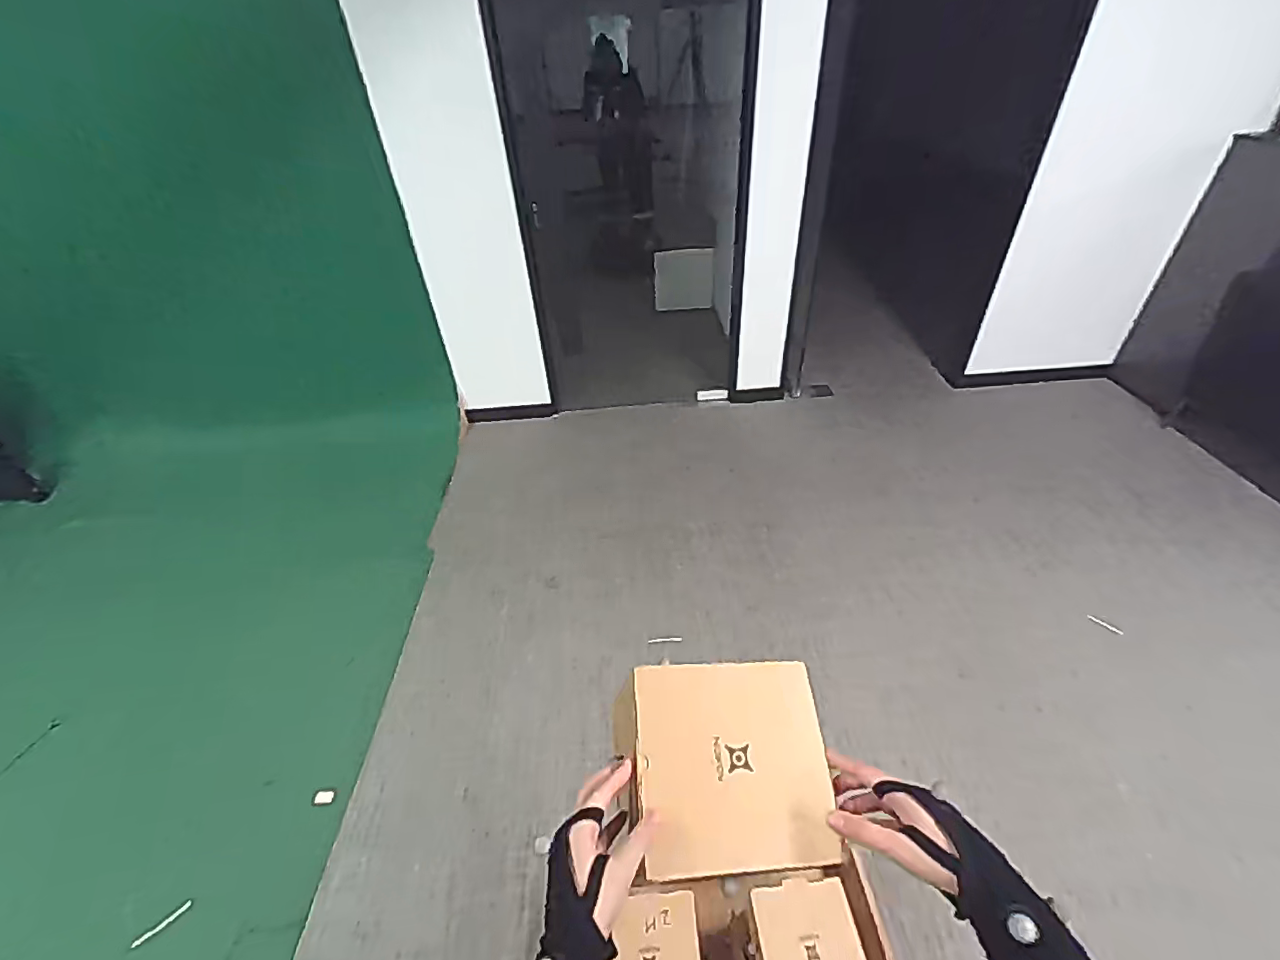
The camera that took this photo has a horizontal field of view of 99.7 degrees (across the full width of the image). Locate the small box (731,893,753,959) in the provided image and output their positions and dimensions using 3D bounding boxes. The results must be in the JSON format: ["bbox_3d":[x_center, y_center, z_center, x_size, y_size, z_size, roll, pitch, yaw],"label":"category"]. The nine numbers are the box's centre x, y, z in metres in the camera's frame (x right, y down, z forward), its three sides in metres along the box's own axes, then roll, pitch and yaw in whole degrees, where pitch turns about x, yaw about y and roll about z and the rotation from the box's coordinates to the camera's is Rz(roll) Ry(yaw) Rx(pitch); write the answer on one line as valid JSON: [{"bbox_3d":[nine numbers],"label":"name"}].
[{"bbox_3d":[0.284,0.927,1.068,0.179,0.176,0.168,-9,41,-5],"label":"small box"}]

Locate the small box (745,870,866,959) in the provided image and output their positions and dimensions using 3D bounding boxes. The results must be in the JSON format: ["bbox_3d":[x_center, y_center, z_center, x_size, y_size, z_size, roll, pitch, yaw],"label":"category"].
[{"bbox_3d":[0.284,0.818,0.945,0.168,0.176,0.179,-6,40,-1],"label":"small box"}]

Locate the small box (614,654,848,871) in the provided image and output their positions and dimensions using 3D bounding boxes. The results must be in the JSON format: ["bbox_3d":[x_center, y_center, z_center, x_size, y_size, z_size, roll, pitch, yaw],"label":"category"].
[{"bbox_3d":[0.072,0.279,0.543,0.179,0.176,0.168,0,58,-9],"label":"small box"}]

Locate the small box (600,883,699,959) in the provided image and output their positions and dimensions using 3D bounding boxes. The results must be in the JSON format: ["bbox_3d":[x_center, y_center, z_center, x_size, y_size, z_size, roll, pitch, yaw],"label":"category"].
[{"bbox_3d":[0.019,0.835,0.944,0.168,0.176,0.179,-3,41,-1],"label":"small box"}]
